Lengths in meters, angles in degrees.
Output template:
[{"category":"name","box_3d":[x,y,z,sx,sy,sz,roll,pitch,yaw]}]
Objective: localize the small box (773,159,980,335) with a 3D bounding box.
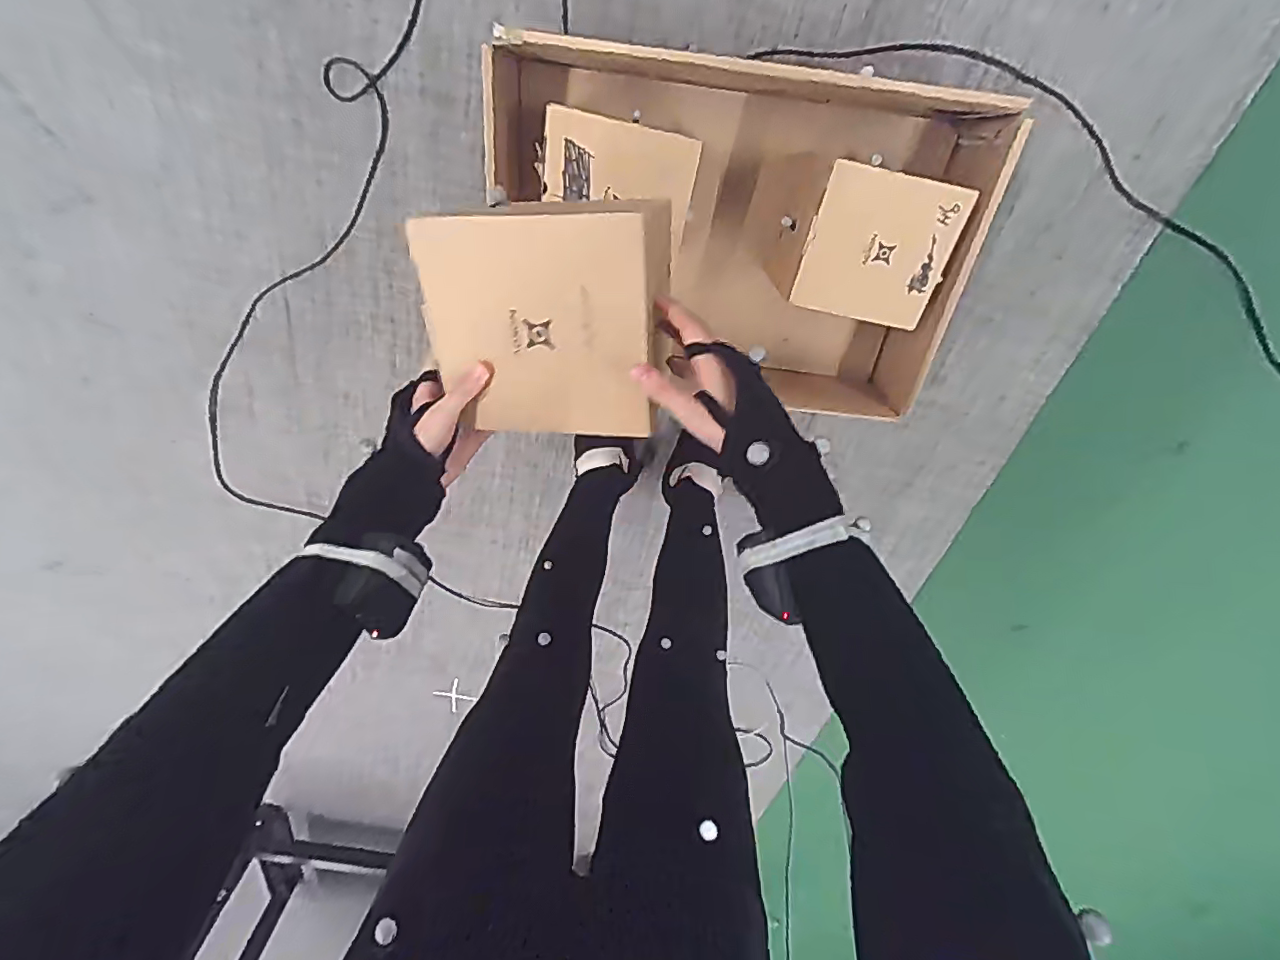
[{"category":"small box","box_3d":[0.292,-0.314,0.721,0.179,0.176,0.168,12,122,-4]}]

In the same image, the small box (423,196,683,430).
[{"category":"small box","box_3d":[-0.059,-0.156,0.481,0.179,0.176,0.168,4,119,7]}]
